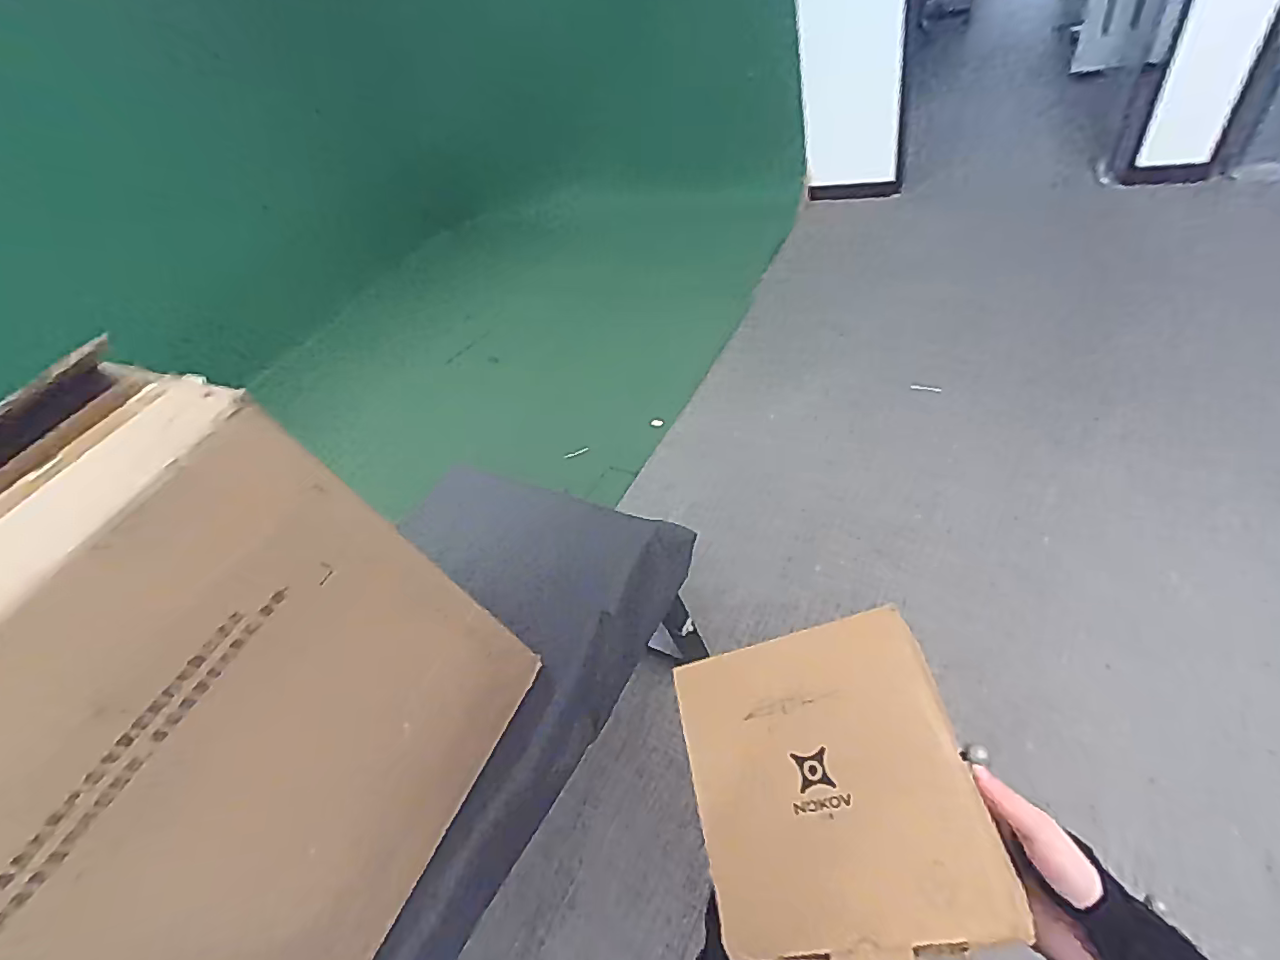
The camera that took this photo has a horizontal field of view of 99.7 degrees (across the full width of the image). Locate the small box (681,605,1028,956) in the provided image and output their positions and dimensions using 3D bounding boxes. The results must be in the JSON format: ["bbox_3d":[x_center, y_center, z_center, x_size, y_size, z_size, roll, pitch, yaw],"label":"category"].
[{"bbox_3d":[0.152,0.214,0.402,0.168,0.176,0.179,-23,56,20],"label":"small box"}]
